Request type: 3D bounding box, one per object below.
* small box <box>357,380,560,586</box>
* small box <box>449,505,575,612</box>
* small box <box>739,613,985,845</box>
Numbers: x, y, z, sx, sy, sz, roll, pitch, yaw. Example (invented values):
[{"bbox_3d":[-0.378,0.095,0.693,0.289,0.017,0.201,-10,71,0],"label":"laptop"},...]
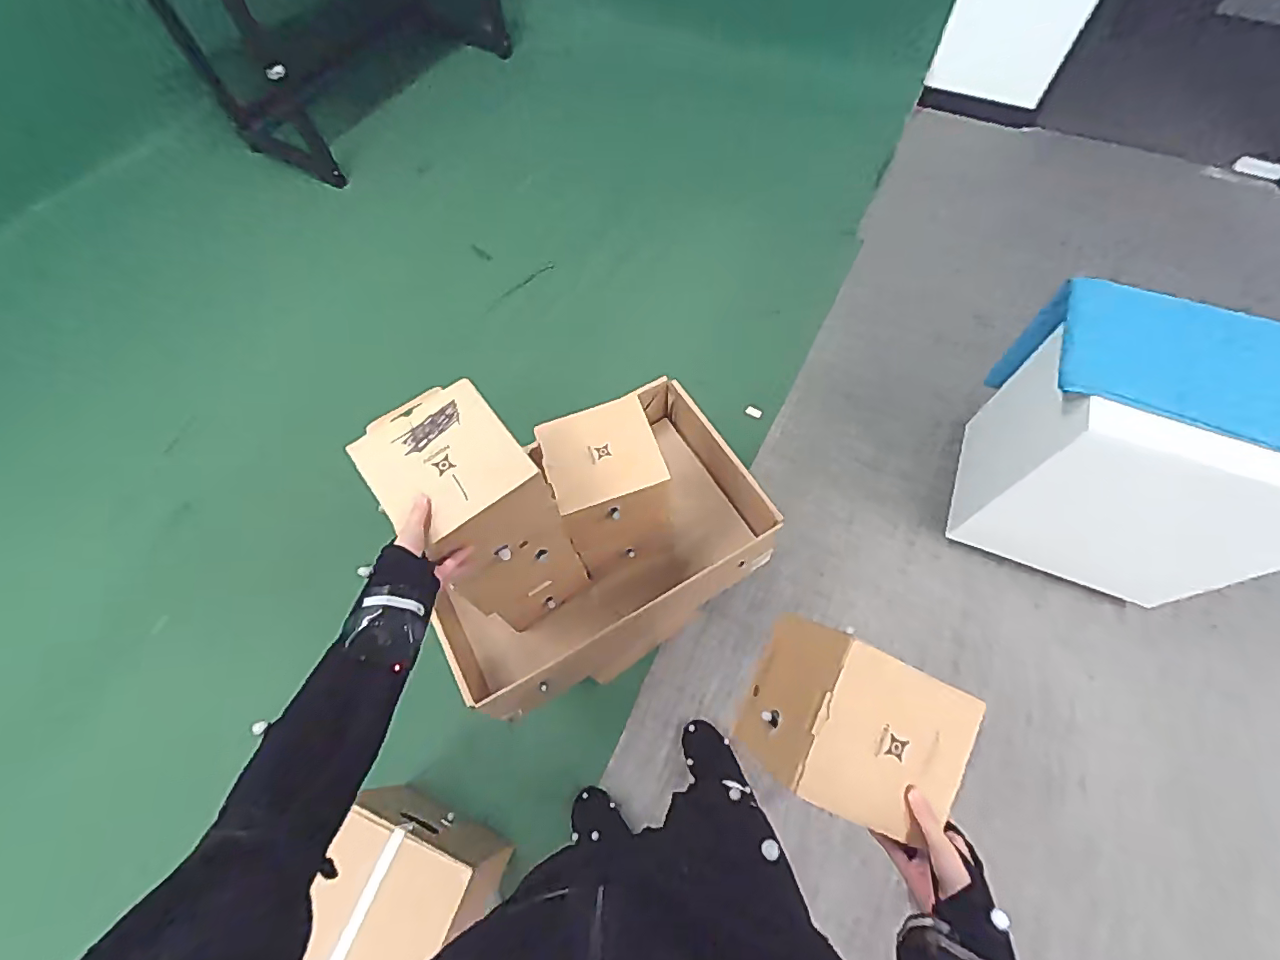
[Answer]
[{"bbox_3d":[-0.226,0.011,0.709,0.168,0.176,0.179,-35,68,-15],"label":"small box"},{"bbox_3d":[-0.215,0.083,0.856,0.179,0.176,0.168,-29,65,-12],"label":"small box"},{"bbox_3d":[0.240,0.267,0.625,0.179,0.176,0.168,27,81,-8],"label":"small box"}]
